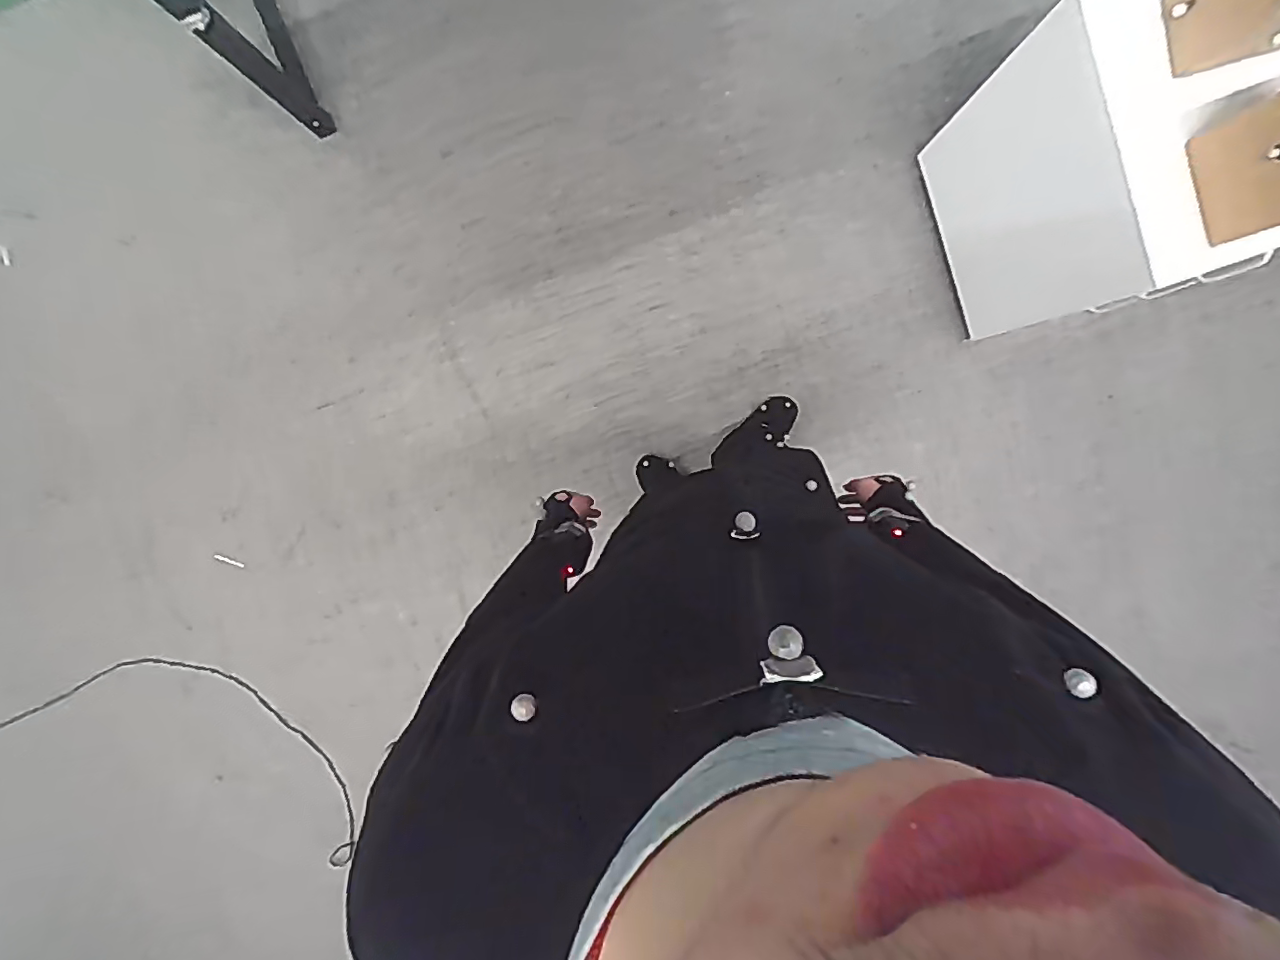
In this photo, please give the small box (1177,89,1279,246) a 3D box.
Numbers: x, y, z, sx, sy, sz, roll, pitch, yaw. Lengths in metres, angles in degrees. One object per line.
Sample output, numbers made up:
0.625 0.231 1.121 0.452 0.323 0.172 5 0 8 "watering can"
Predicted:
0.975 -0.486 0.812 0.168 0.176 0.179 -20 94 2 "small box"
